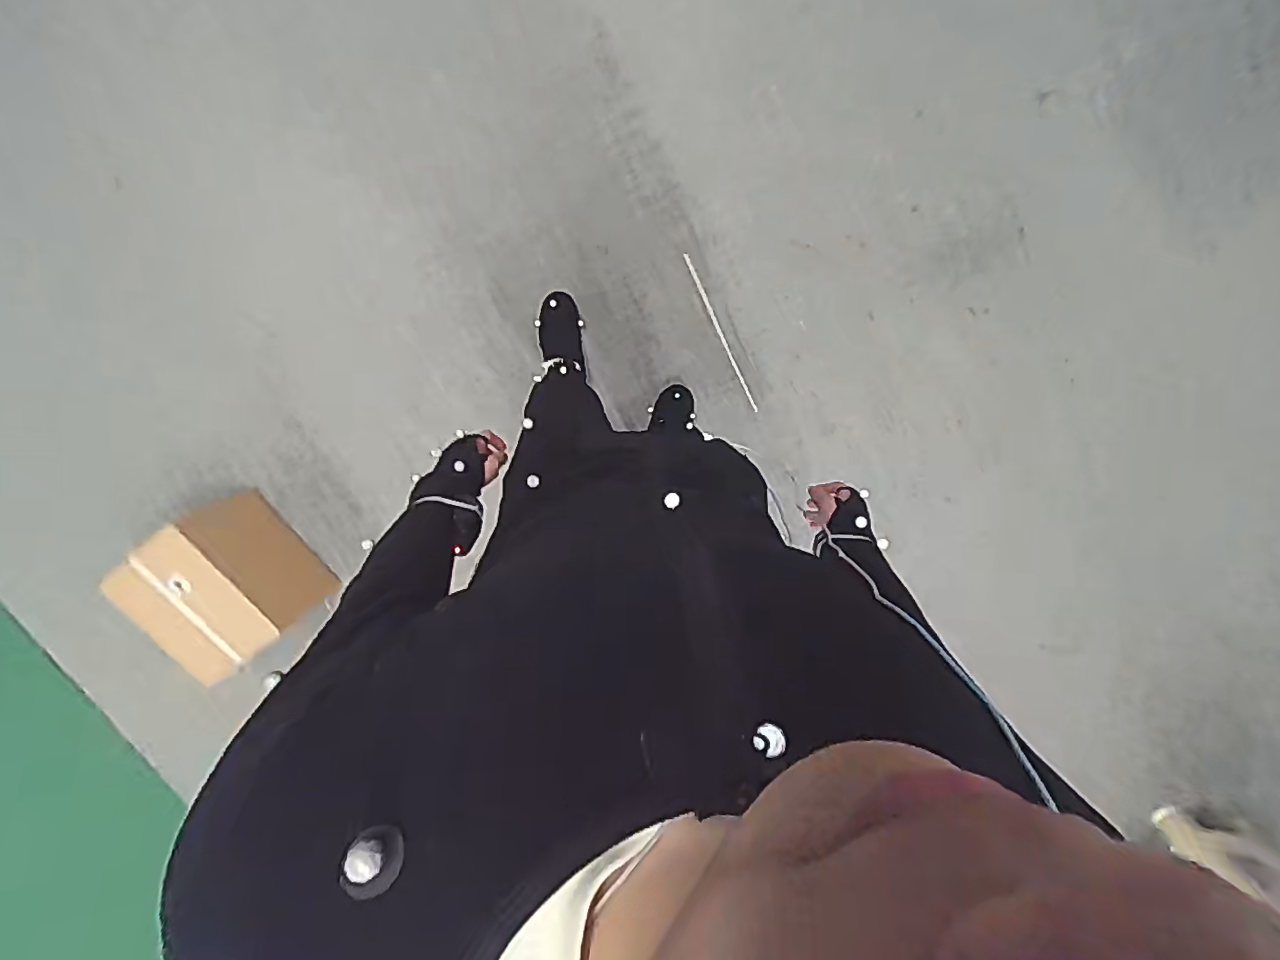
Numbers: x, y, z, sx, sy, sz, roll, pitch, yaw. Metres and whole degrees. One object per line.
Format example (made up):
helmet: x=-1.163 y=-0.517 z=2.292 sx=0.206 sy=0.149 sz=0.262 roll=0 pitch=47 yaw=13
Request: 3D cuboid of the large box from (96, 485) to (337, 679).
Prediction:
large box: x=-1.221 y=0.289 z=1.606 sx=0.320 sy=0.320 sz=0.408 roll=-34 pitch=101 yaw=10
